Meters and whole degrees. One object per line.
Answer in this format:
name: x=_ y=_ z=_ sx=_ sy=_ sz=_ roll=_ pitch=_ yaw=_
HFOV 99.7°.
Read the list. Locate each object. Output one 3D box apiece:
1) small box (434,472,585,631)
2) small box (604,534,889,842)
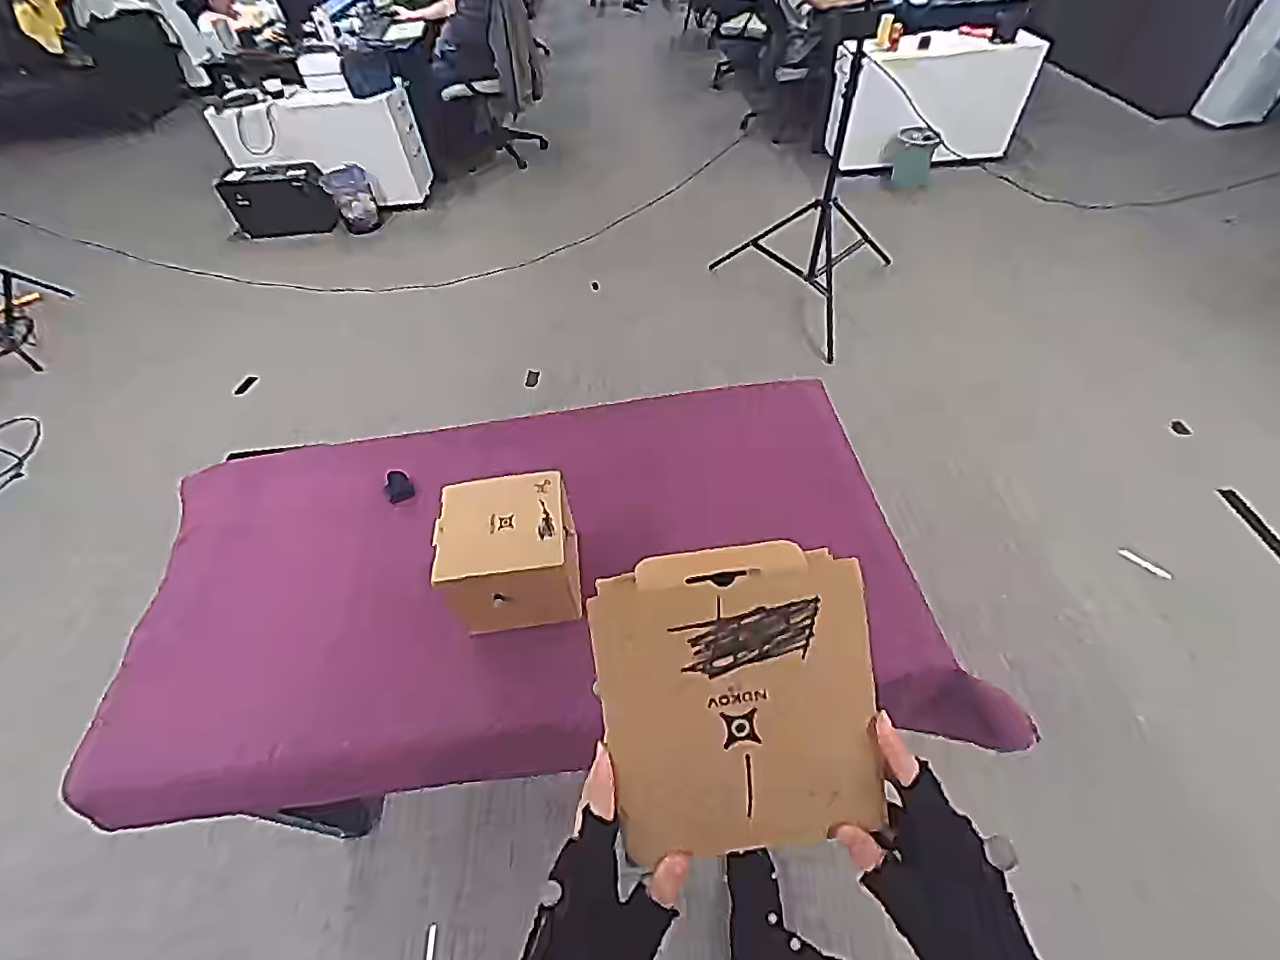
small box: x=-0.185 y=0.112 z=0.815 sx=0.179 sy=0.176 sz=0.168 roll=-8 pitch=50 yaw=-2
small box: x=0.066 y=0.149 z=0.431 sx=0.168 sy=0.176 sz=0.179 roll=-8 pitch=77 yaw=0
